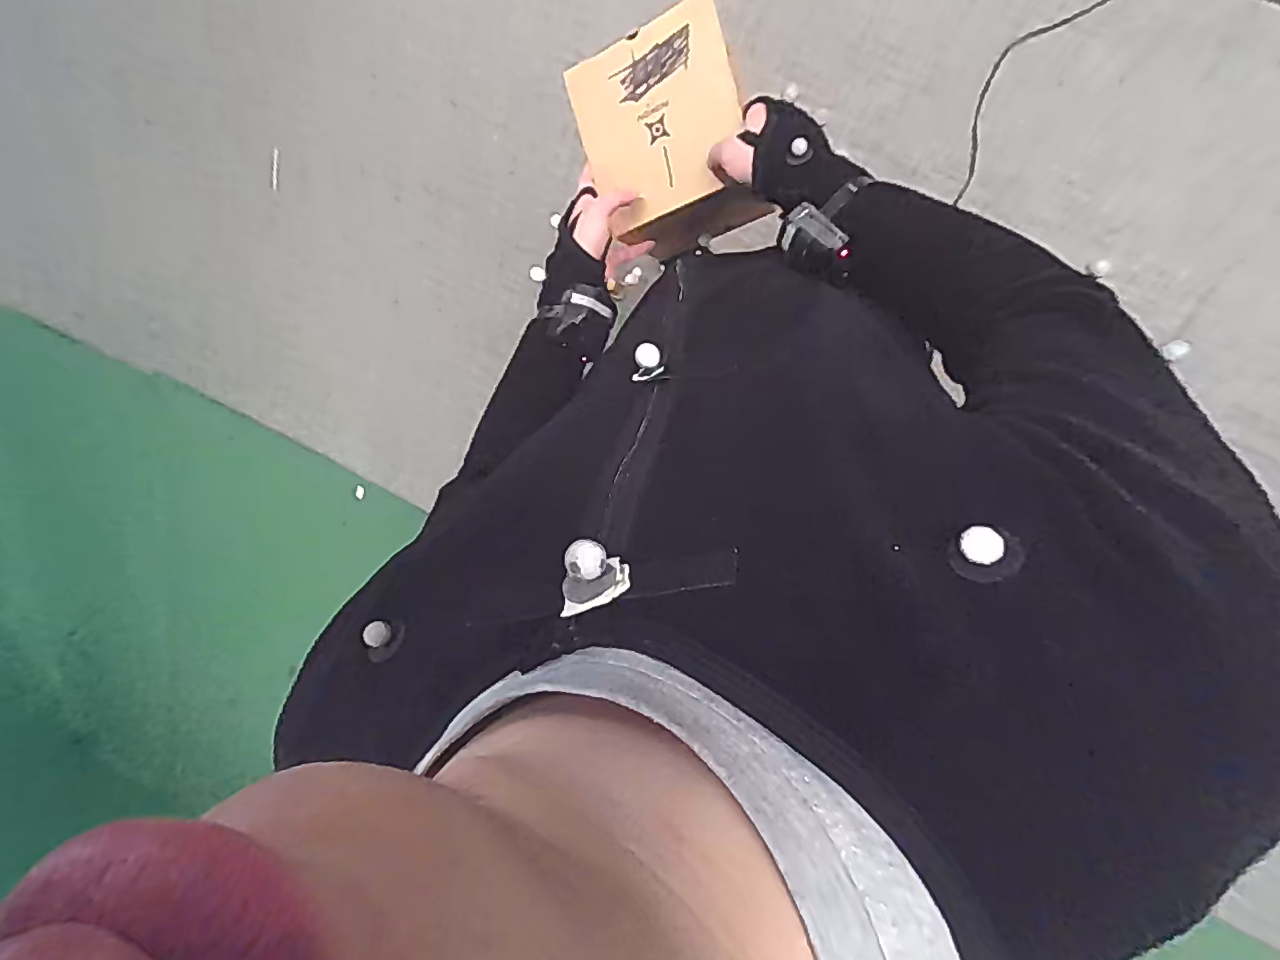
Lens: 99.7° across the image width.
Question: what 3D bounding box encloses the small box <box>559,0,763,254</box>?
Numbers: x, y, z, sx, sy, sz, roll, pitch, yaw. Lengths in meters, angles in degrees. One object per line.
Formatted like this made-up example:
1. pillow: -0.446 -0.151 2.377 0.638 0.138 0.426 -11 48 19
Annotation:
1. small box: 0.035 -0.388 0.631 0.168 0.176 0.179 -13 98 25
